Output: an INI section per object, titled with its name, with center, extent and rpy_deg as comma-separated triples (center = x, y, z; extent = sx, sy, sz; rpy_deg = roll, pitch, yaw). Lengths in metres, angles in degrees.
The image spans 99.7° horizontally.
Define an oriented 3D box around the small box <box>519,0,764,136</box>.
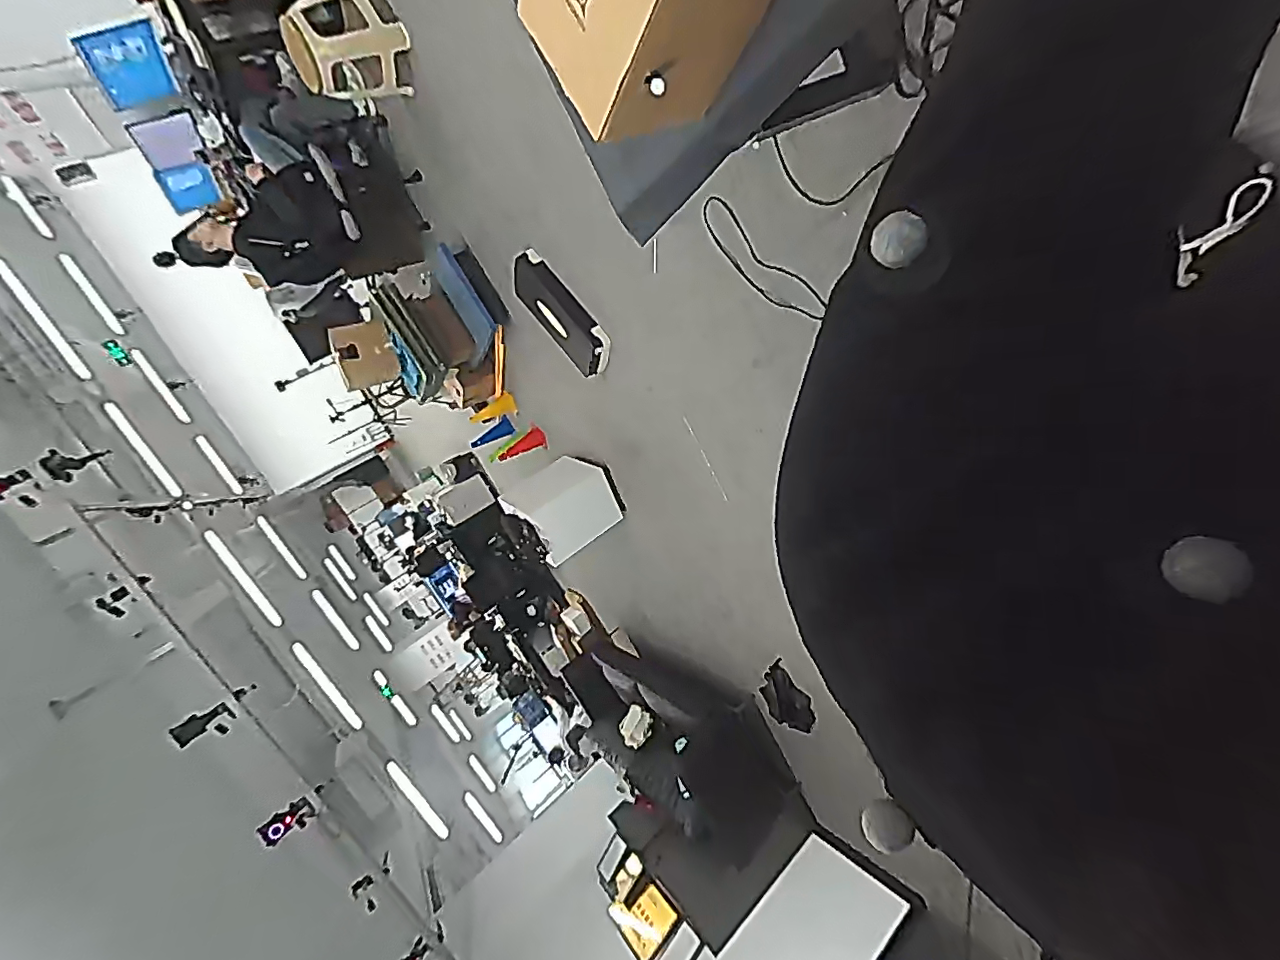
[small box]
center = 0.006, -0.501, 0.544
extent = 0.168, 0.176, 0.179
rpy_deg = 58, 156, -3
